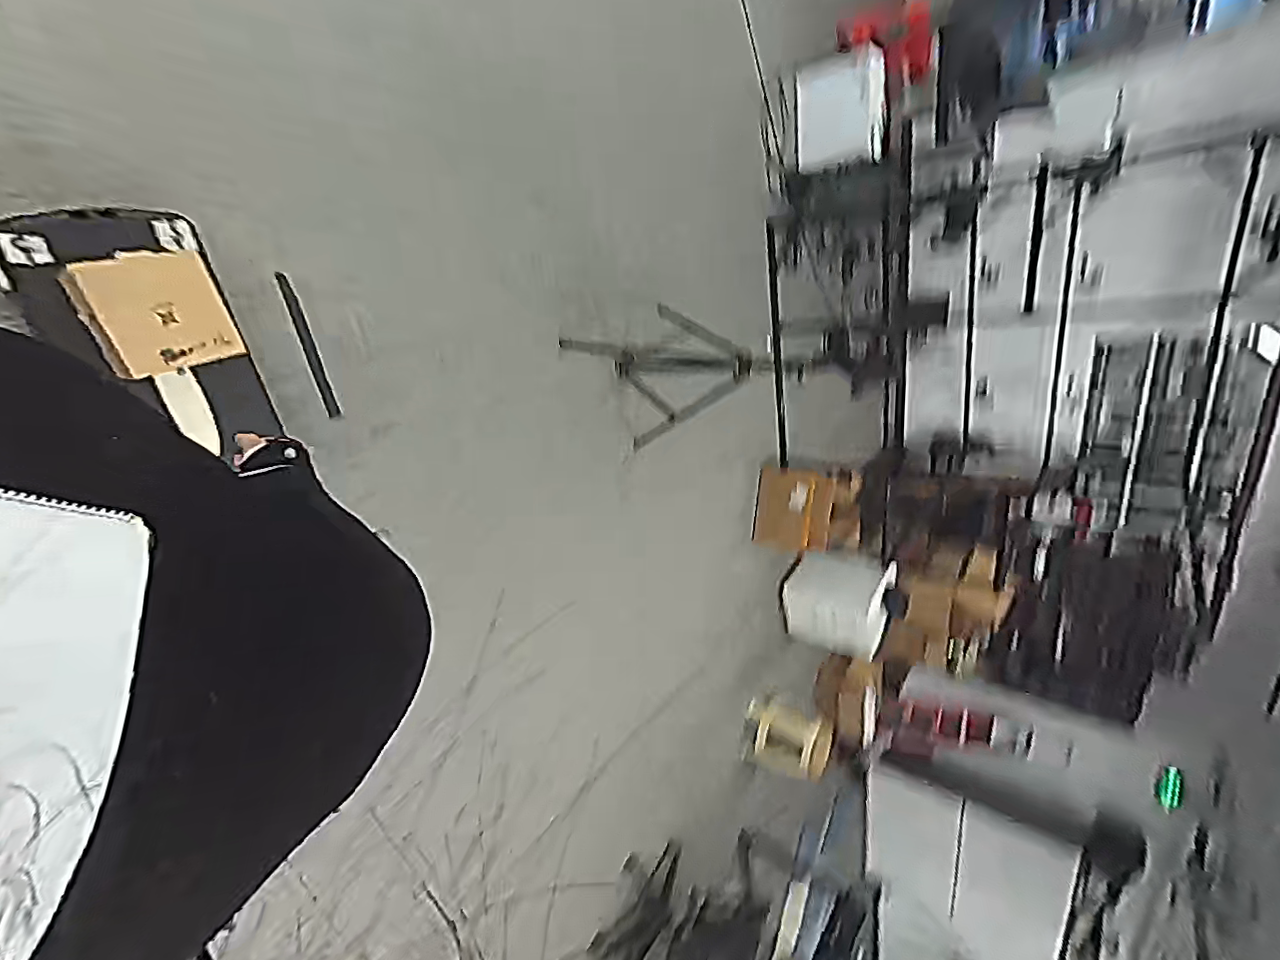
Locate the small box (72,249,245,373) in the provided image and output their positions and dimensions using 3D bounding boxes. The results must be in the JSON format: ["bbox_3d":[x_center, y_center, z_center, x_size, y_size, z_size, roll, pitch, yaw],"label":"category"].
[{"bbox_3d":[-0.833,-0.287,0.931,0.168,0.176,0.179,-34,122,-41],"label":"small box"}]
